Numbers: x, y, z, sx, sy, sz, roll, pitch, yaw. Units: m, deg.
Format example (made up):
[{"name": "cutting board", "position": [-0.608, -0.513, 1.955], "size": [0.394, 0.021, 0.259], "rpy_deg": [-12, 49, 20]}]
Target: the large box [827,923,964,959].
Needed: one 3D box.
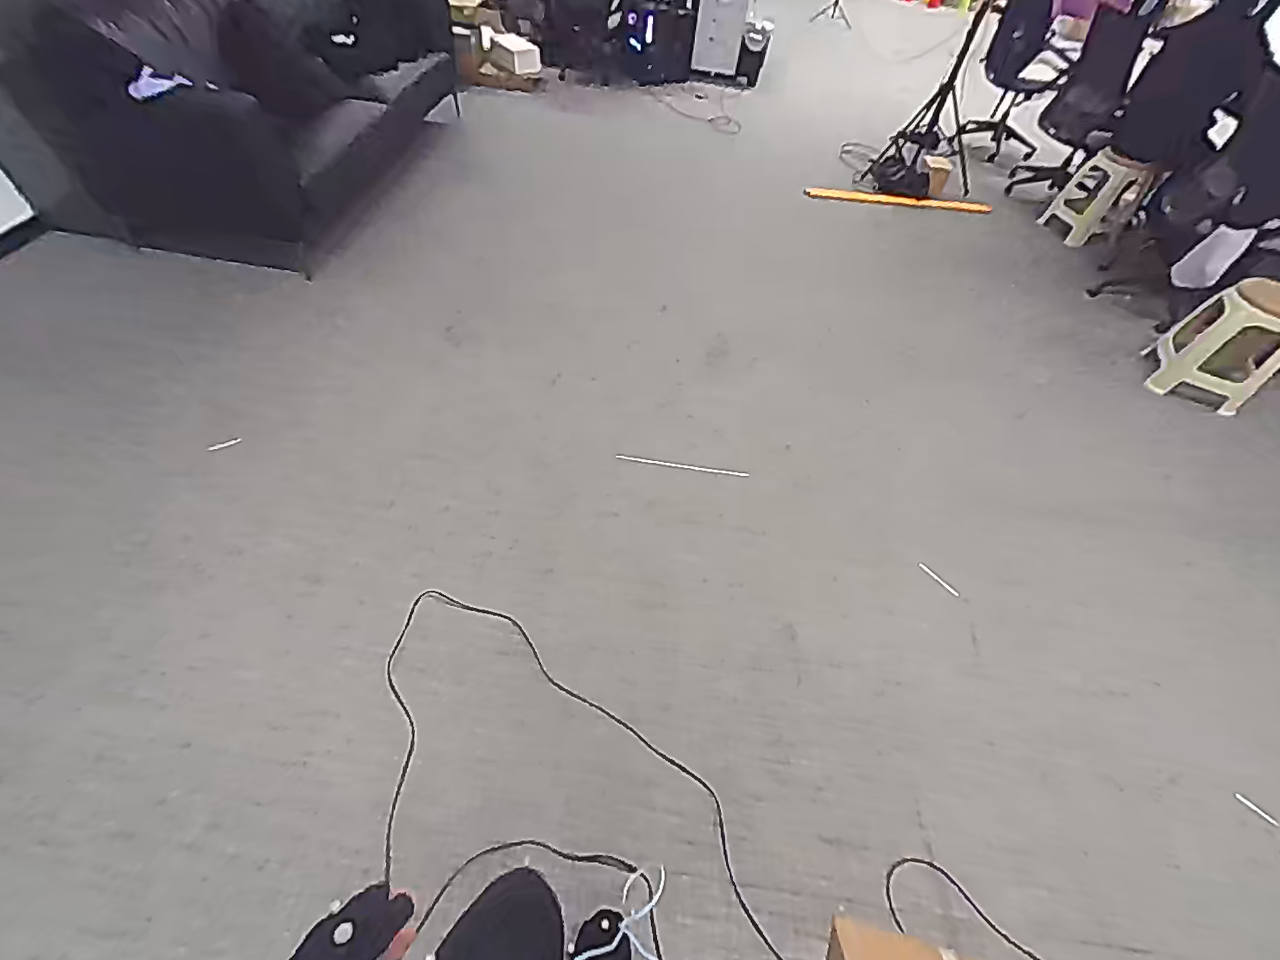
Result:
[{"name": "large box", "position": [0.377, 0.818, 0.584], "size": [0.320, 0.408, 0.320], "rpy_deg": [12, 85, 11]}]
